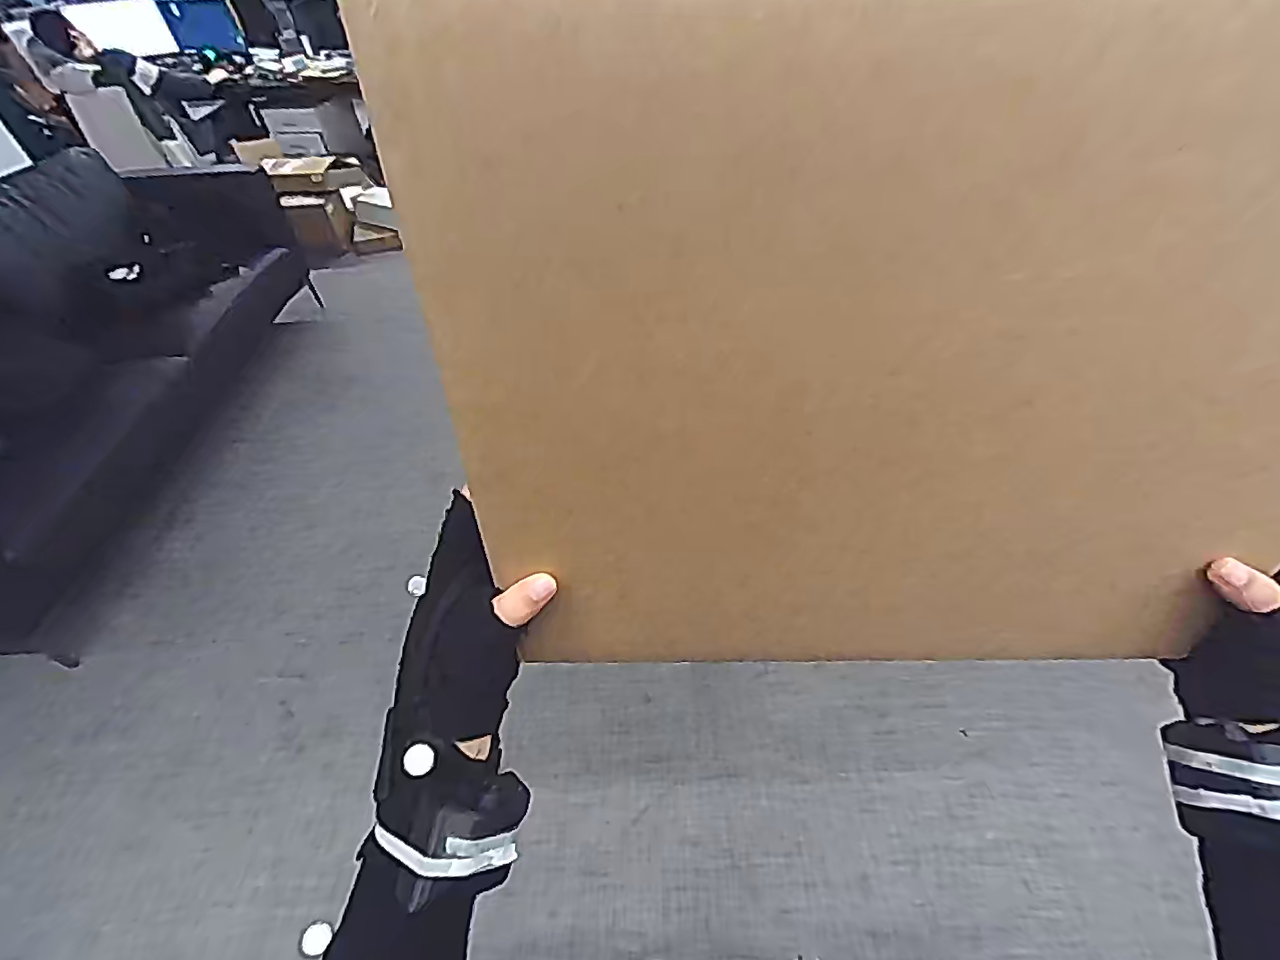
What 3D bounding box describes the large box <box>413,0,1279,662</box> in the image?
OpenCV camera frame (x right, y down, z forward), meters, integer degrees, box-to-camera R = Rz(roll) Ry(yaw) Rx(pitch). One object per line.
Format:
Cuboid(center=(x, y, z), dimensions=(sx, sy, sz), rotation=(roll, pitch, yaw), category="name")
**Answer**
Cuboid(center=(0.129, -0.101, 0.351), dimensions=(0.408, 0.320, 0.320), rotation=(0, 39, -1), category="large box")
